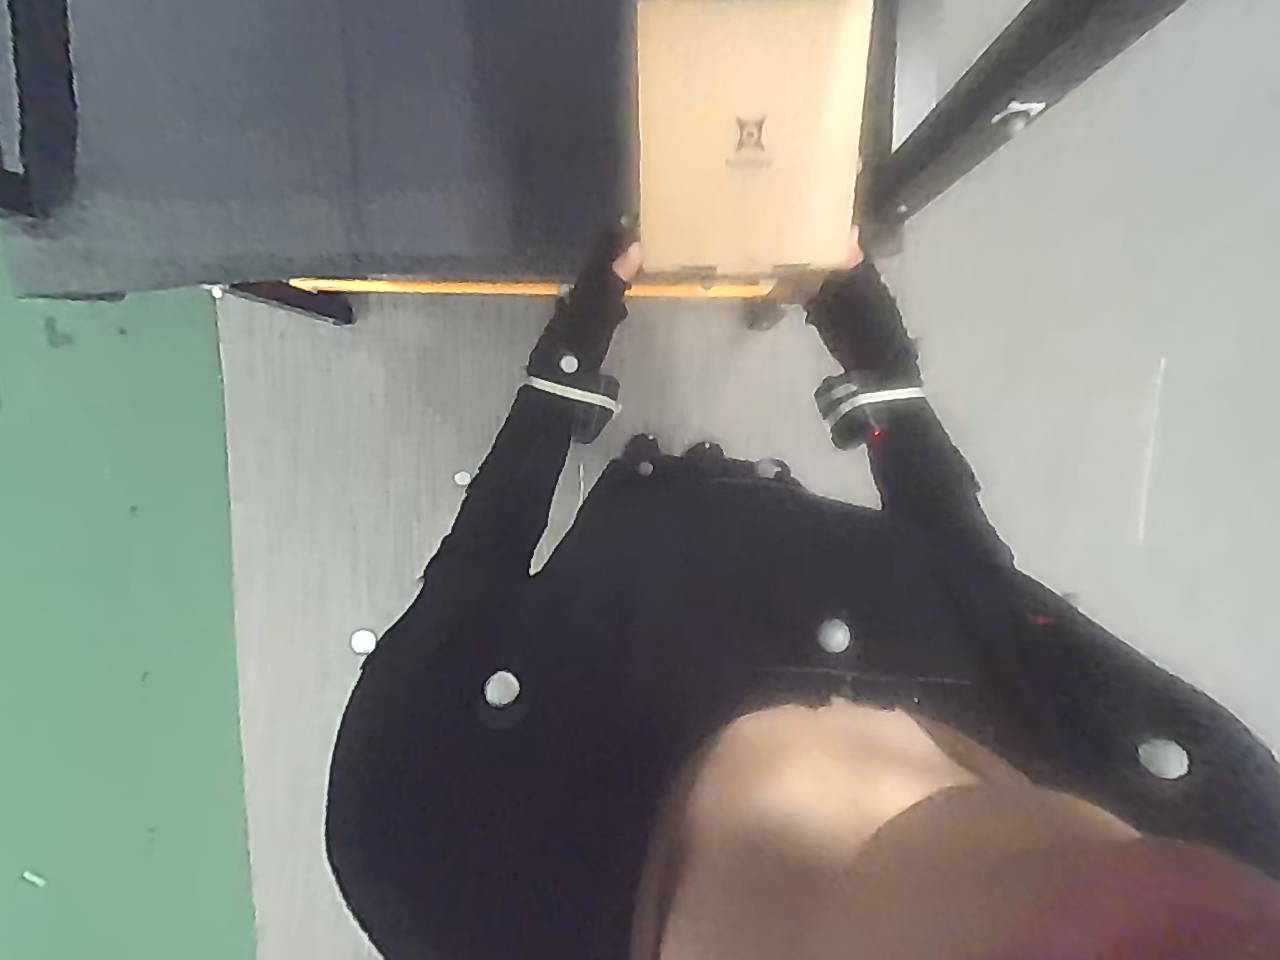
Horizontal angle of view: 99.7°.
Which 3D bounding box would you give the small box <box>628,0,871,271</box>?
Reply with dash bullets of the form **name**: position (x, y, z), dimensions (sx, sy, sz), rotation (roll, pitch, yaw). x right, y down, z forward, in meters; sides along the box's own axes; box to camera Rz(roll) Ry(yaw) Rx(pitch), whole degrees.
- **small box**: position (0.074, -0.278, 0.461), dimensions (0.168, 0.176, 0.179), rotation (-2, 109, -1)
